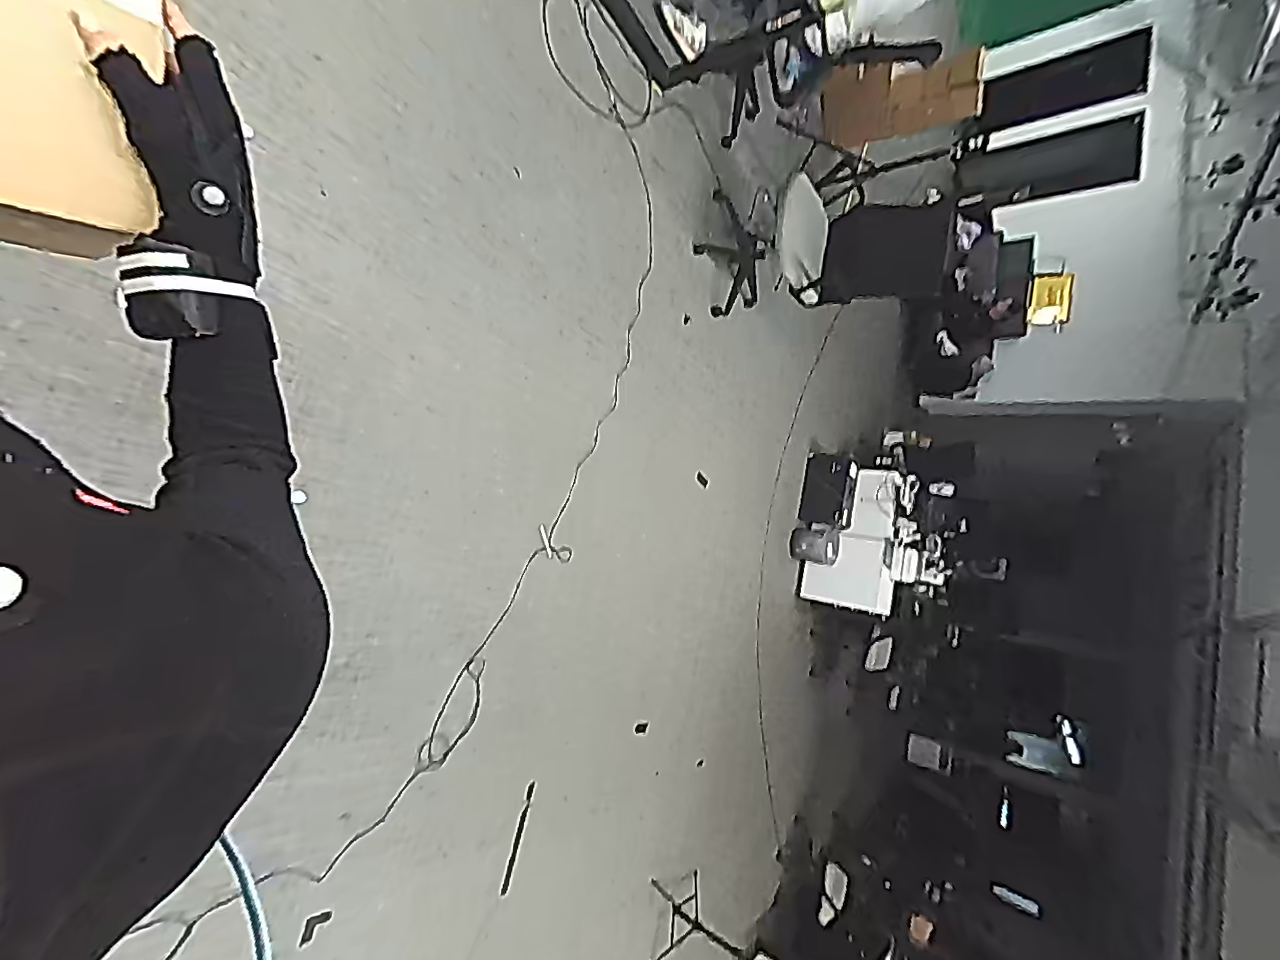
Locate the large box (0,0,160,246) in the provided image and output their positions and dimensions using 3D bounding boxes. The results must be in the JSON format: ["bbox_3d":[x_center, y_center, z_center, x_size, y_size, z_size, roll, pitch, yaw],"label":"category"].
[{"bbox_3d":[-0.594,-0.362,0.326,0.408,0.320,0.320,-5,106,-52],"label":"large box"}]
